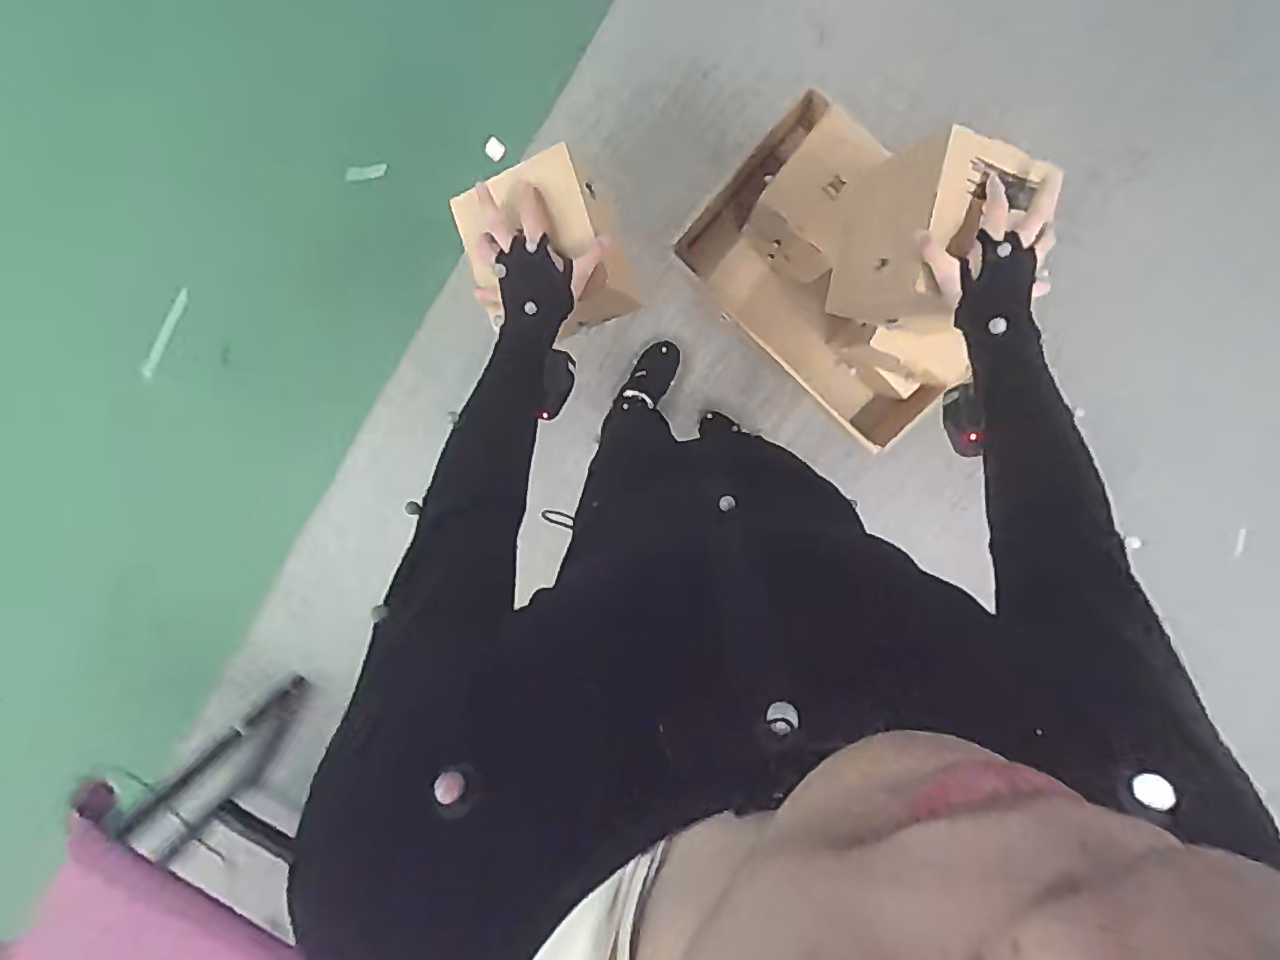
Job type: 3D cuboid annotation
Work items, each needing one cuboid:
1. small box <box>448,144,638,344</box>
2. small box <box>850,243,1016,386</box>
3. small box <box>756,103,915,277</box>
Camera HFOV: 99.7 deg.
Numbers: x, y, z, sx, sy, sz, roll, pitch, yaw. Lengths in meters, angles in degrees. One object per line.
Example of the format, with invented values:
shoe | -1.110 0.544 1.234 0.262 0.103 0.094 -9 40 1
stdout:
small box | -0.119 -0.298 0.729 0.168 0.176 0.179 -18 95 17
small box | 0.495 -0.280 0.950 0.168 0.176 0.179 26 102 -1
small box | 0.318 -0.478 0.925 0.168 0.176 0.179 40 102 -4
